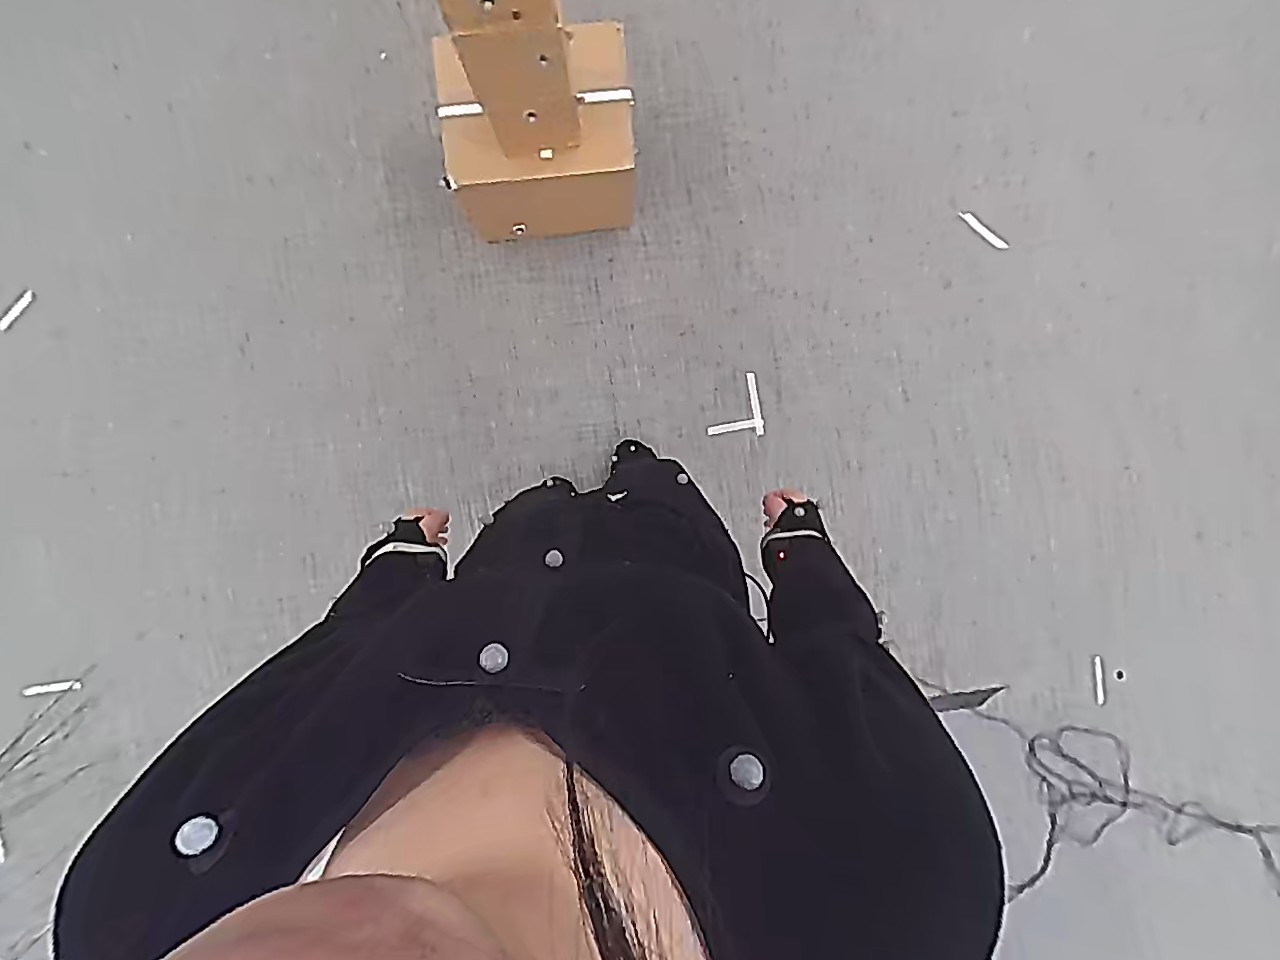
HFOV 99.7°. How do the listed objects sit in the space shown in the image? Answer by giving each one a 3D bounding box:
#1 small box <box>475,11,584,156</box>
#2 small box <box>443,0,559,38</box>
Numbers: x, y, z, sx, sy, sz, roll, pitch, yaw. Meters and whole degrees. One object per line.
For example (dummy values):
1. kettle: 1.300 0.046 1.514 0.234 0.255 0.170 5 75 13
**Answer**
1. small box: -0.212 -0.773 1.072 0.179 0.176 0.168 -8 94 -2
2. small box: -0.211 -0.767 0.746 0.168 0.176 0.179 -8 94 -2
